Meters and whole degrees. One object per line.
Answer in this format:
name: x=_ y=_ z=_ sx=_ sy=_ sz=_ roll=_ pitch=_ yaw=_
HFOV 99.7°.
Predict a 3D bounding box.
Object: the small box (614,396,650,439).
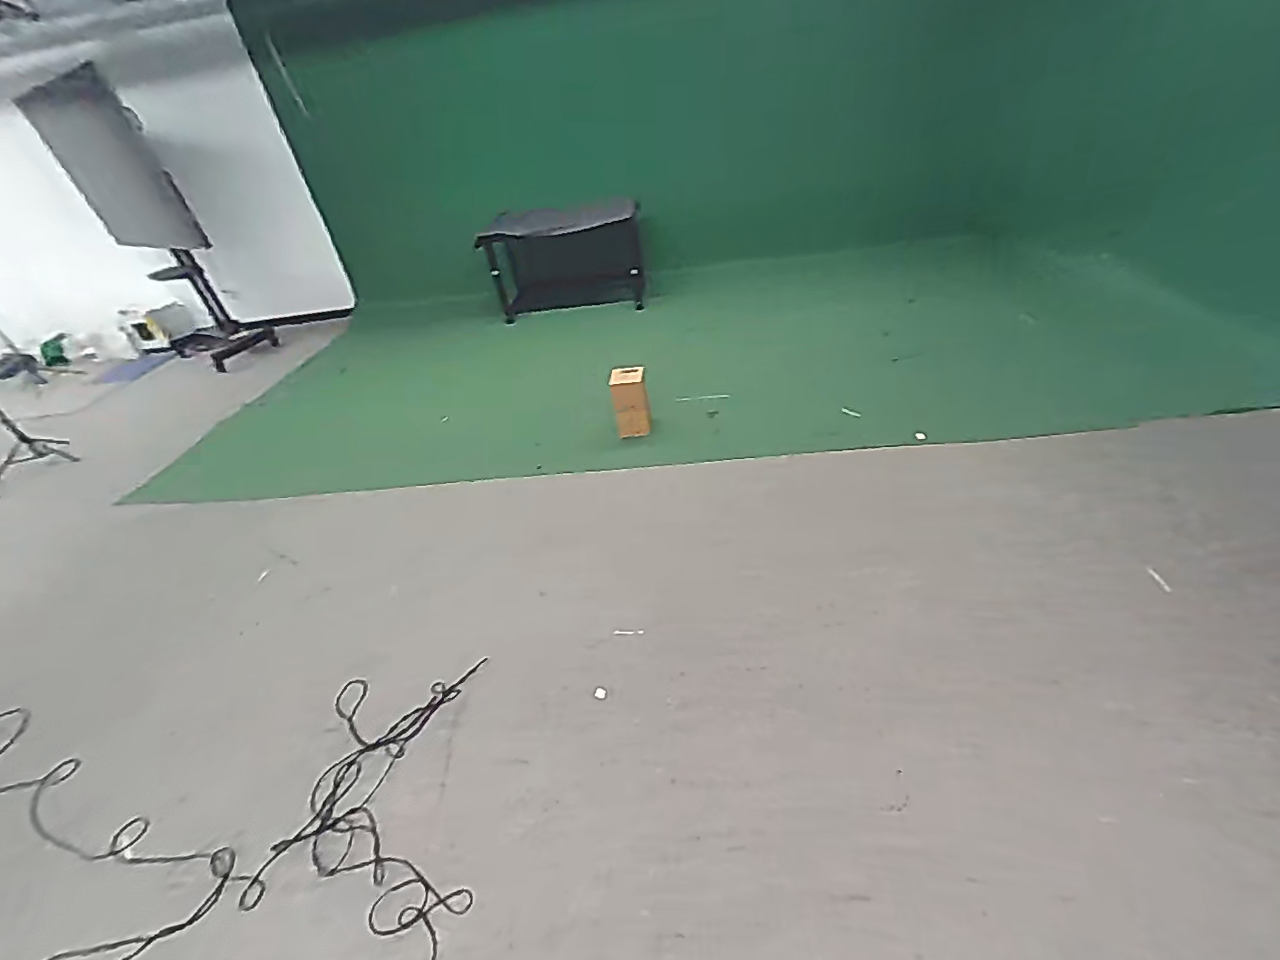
small box: x=-0.037 y=-0.334 z=2.939 sx=0.168 sy=0.176 sz=0.179 roll=-4 pitch=36 yaw=8
